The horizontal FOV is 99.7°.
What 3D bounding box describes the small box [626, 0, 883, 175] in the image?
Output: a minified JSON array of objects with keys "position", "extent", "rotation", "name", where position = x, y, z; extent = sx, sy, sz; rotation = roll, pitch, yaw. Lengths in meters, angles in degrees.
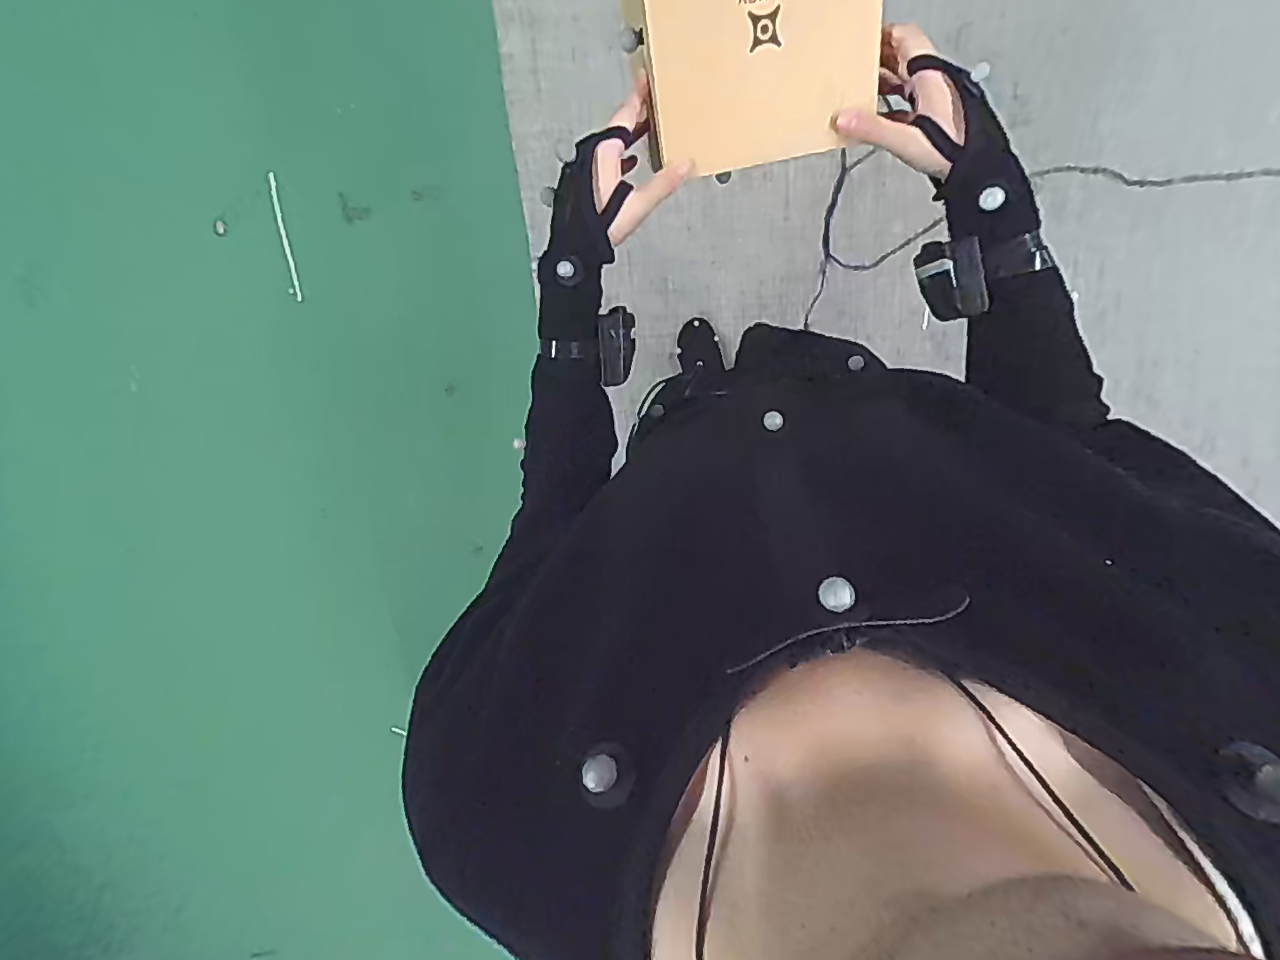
[{"position":[0.080,-0.363,0.435],"extent":[0.168,0.176,0.179],"rotation":[-10,122,2],"name":"small box"}]
